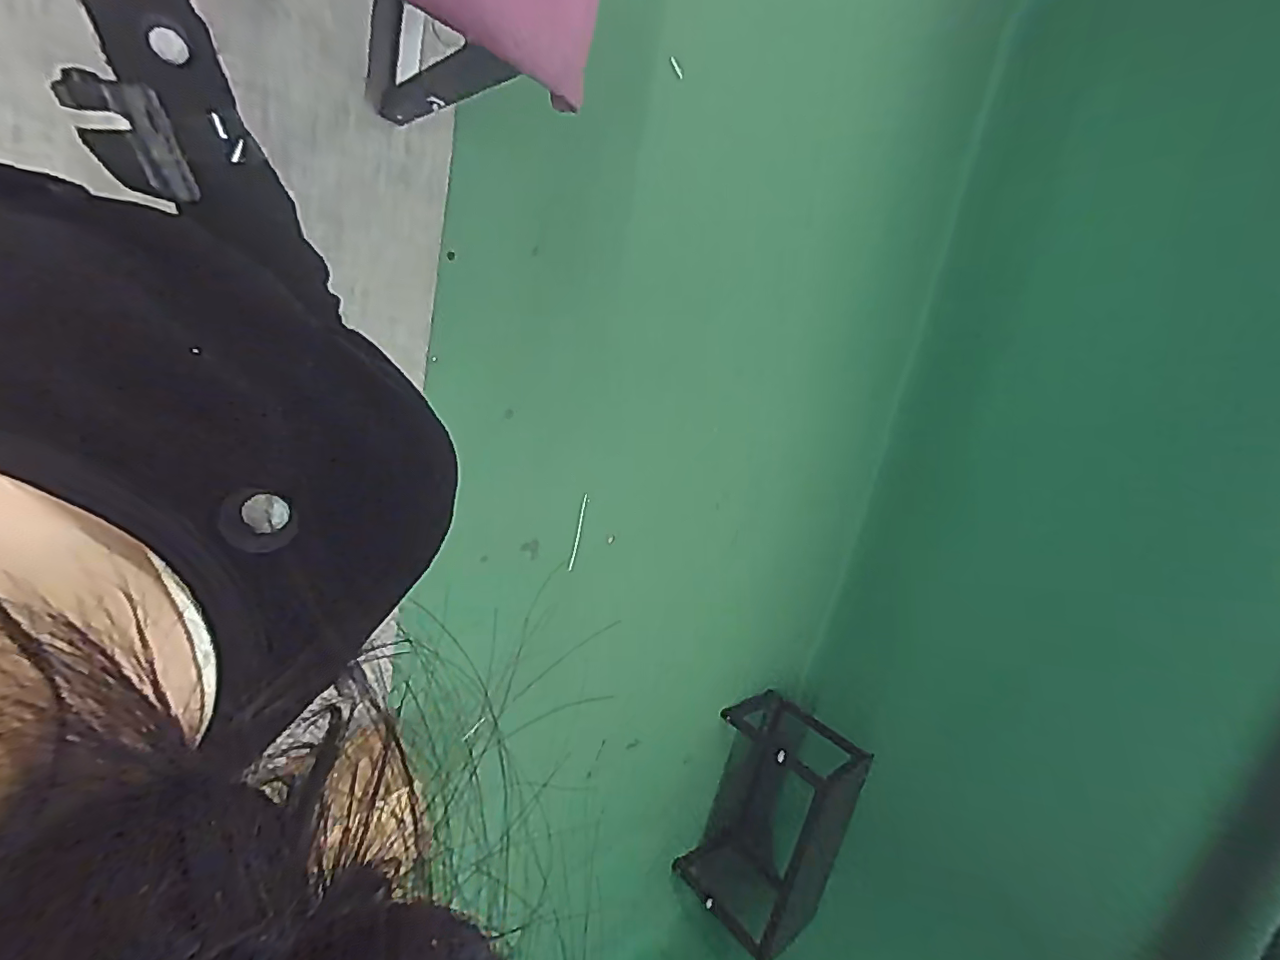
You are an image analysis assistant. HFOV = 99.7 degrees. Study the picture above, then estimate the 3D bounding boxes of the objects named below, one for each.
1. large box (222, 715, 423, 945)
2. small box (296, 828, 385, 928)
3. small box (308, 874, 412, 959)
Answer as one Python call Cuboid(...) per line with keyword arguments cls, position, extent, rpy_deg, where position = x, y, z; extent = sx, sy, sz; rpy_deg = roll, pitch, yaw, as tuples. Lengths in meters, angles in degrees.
Cuboid(cls="large box", position=(-0.910, 0.983, 1.573), extent=(0.408, 0.320, 0.320), rpy_deg=(-19, 121, -40))
Cuboid(cls="small box", position=(-0.762, 1.034, 1.379), extent=(0.168, 0.176, 0.179), rpy_deg=(-11, 115, -41))
Cuboid(cls="small box", position=(-0.656, 1.089, 1.269), extent=(0.179, 0.176, 0.168), rpy_deg=(-9, 114, -42))
